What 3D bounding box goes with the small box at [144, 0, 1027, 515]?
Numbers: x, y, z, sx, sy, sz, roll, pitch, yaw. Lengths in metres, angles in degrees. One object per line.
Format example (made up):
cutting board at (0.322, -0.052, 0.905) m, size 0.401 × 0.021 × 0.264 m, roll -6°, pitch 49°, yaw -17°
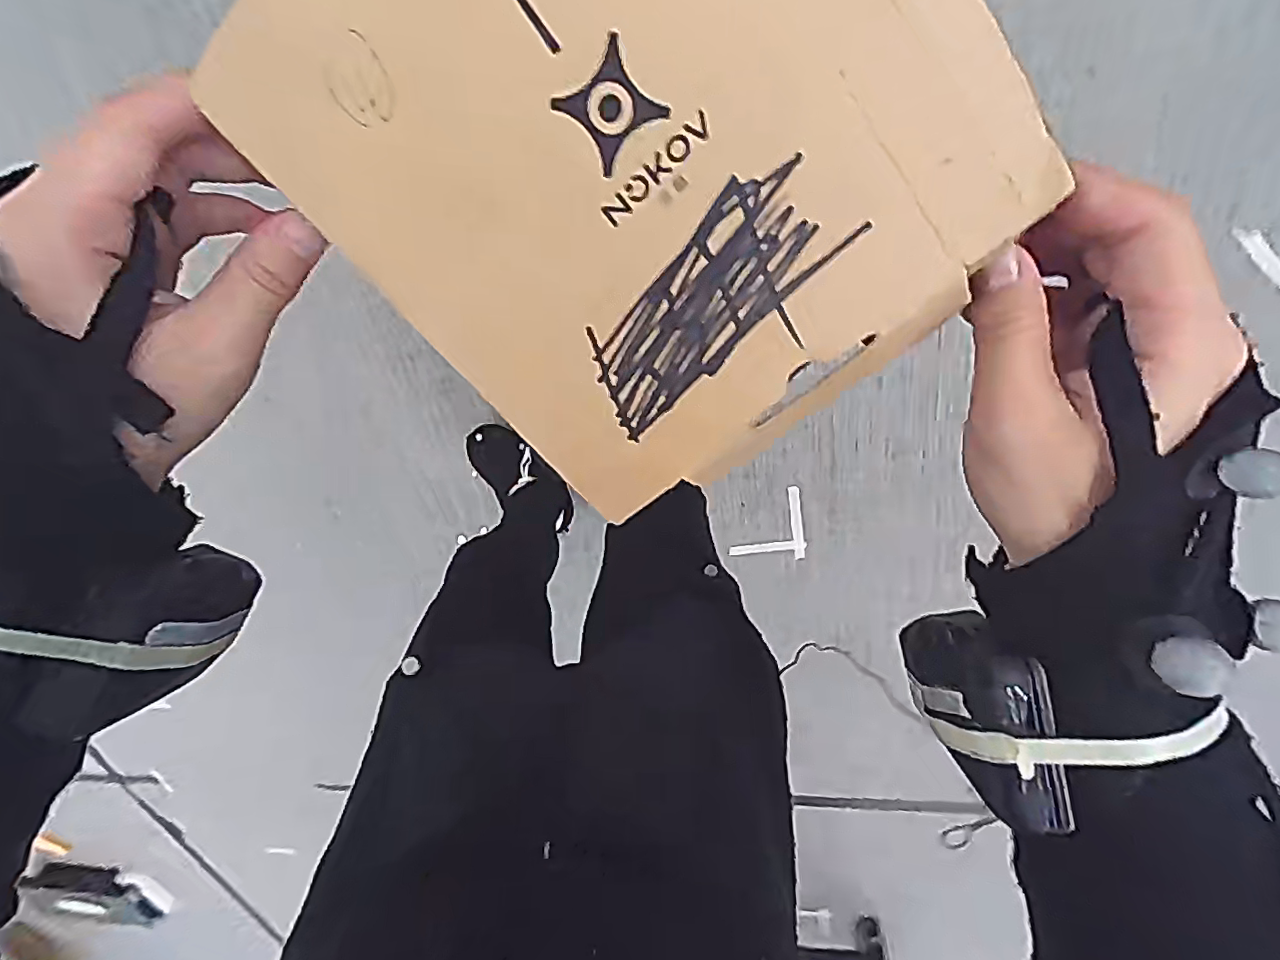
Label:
small box at (-0.009, -0.126, 0.213) m, size 0.168 × 0.176 × 0.179 m, roll -38°, pitch 108°, yaw 18°
